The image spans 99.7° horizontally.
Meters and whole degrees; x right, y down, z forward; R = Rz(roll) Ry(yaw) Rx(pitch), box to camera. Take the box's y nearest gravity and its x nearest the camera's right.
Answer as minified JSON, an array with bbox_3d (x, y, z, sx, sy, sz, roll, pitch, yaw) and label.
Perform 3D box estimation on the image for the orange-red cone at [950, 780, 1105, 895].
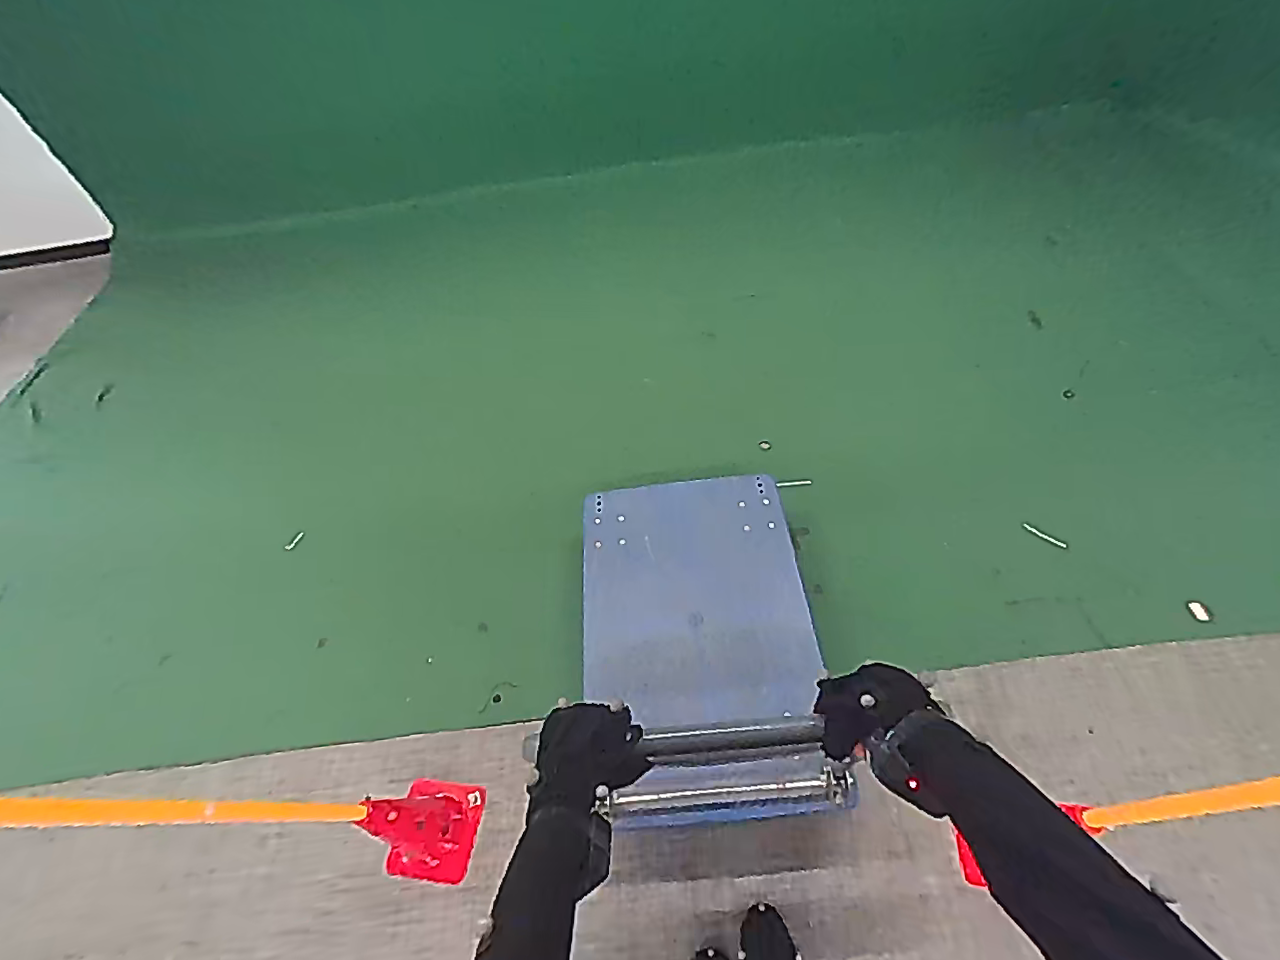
[{"bbox_3d":[0.778,0.672,1.042,0.198,0.360,0.199,1,54,9],"label":"orange-red cone"}]
